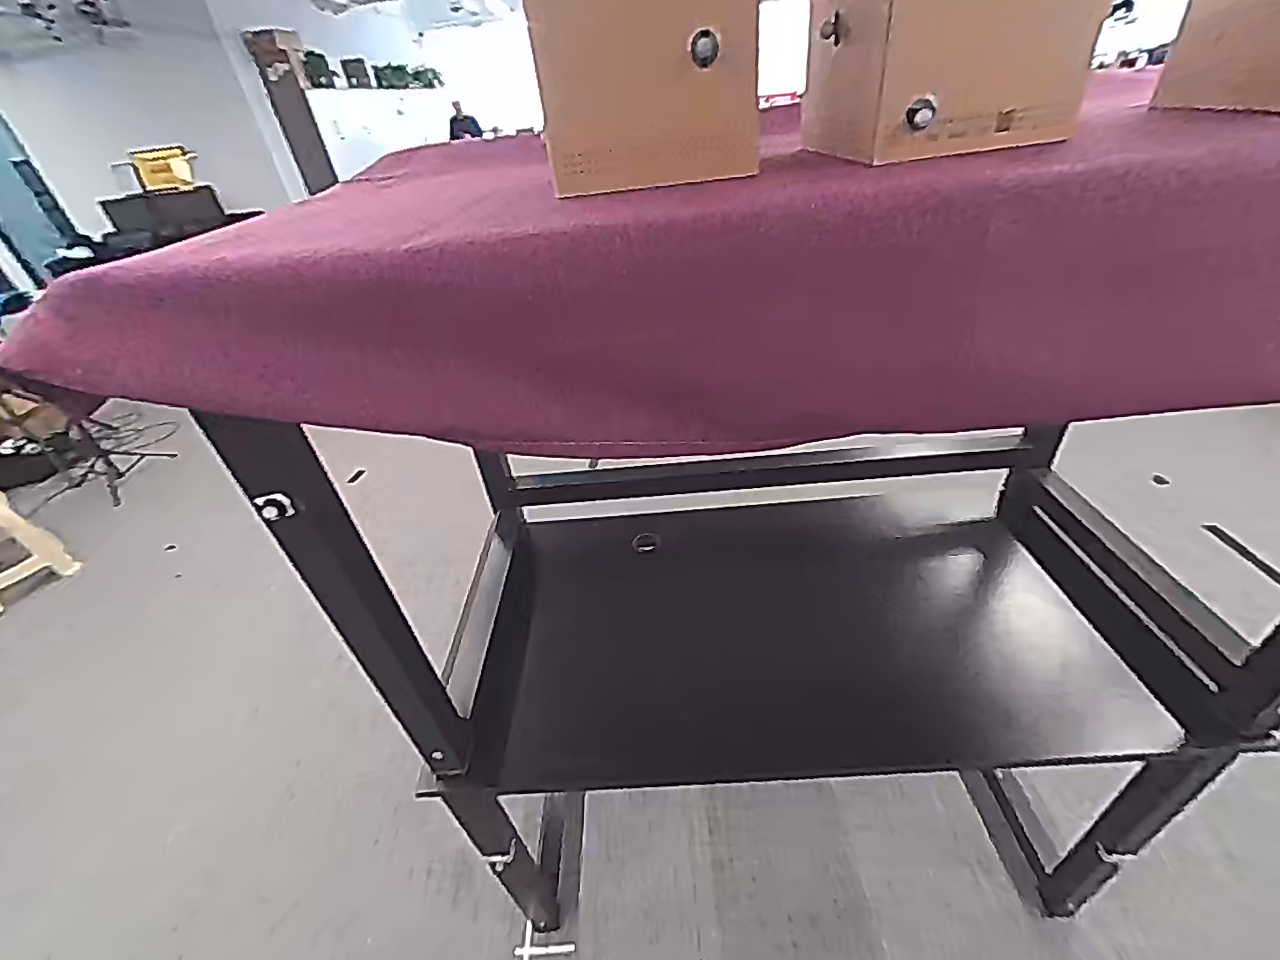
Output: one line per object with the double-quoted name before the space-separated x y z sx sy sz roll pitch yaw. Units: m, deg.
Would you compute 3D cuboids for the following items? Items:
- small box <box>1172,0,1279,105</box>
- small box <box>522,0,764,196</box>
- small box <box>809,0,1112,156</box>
"small box" 0.579 -0.394 0.410 0.168 0.176 0.179 -3 35 7
"small box" 0.007 -0.358 0.466 0.179 0.176 0.168 -5 35 3
"small box" 0.250 -0.374 0.444 0.168 0.176 0.179 -8 35 -1
